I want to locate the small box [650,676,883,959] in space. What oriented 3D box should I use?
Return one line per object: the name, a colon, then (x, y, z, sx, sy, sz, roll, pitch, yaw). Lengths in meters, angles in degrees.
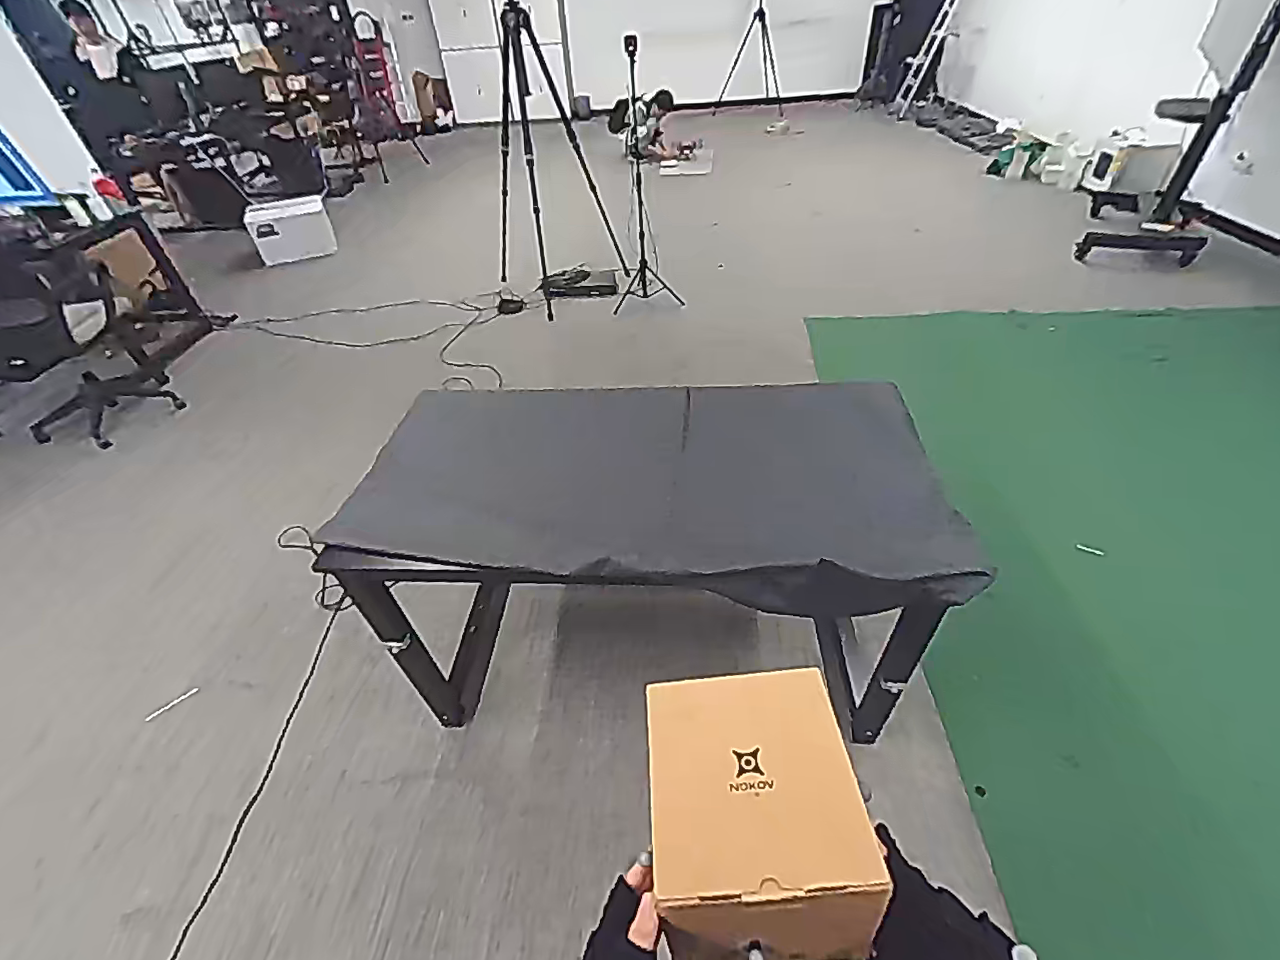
small box: (0.100, 0.311, 0.500, 0.168, 0.176, 0.179, -7, 36, 3)
